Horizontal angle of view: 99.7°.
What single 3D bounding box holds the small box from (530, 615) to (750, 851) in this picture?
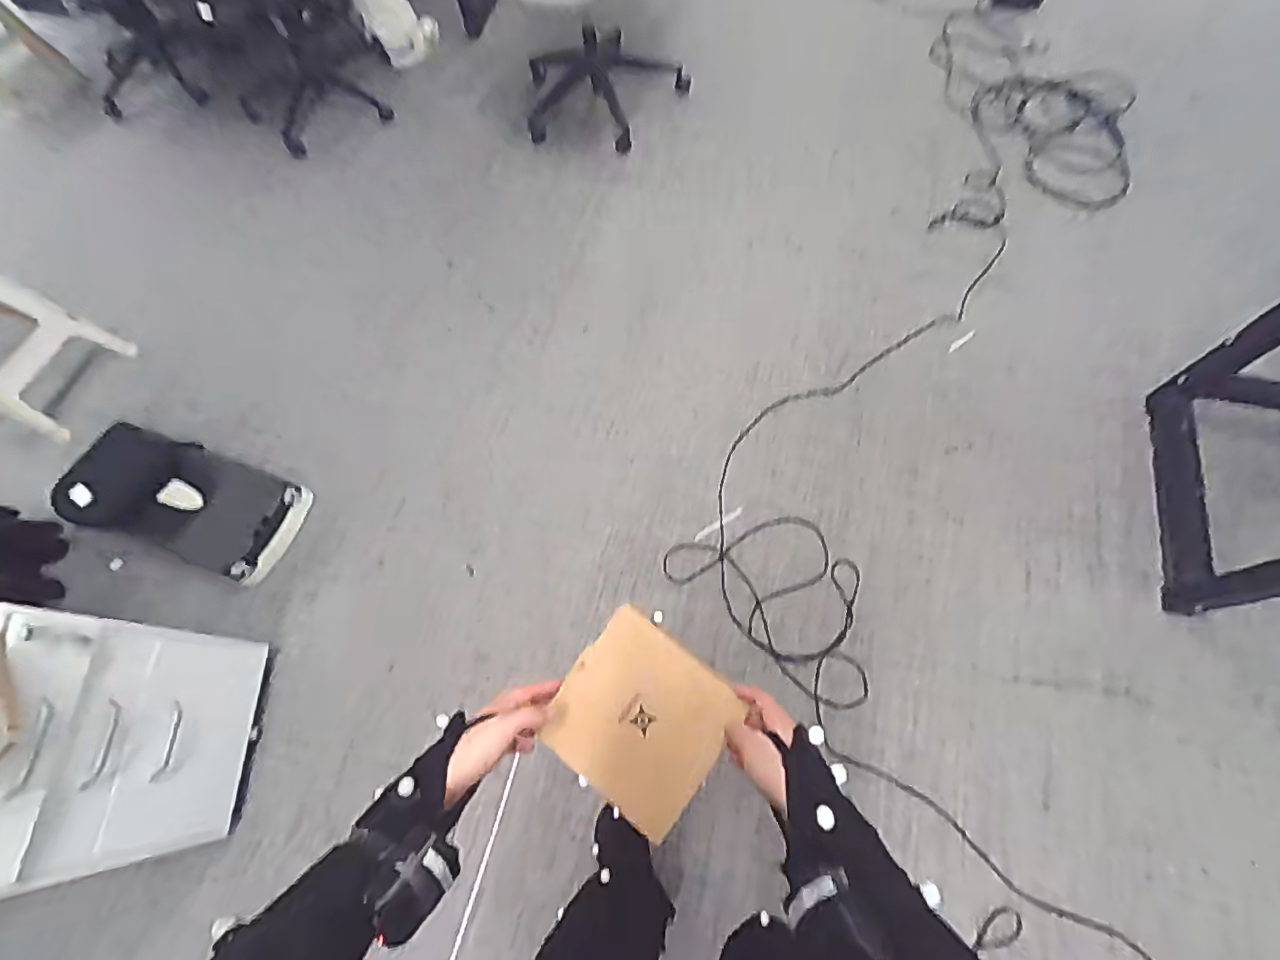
[{"bbox_3d":[0.006,0.279,0.641,0.179,0.176,0.168,36,79,15],"label":"small box"}]
